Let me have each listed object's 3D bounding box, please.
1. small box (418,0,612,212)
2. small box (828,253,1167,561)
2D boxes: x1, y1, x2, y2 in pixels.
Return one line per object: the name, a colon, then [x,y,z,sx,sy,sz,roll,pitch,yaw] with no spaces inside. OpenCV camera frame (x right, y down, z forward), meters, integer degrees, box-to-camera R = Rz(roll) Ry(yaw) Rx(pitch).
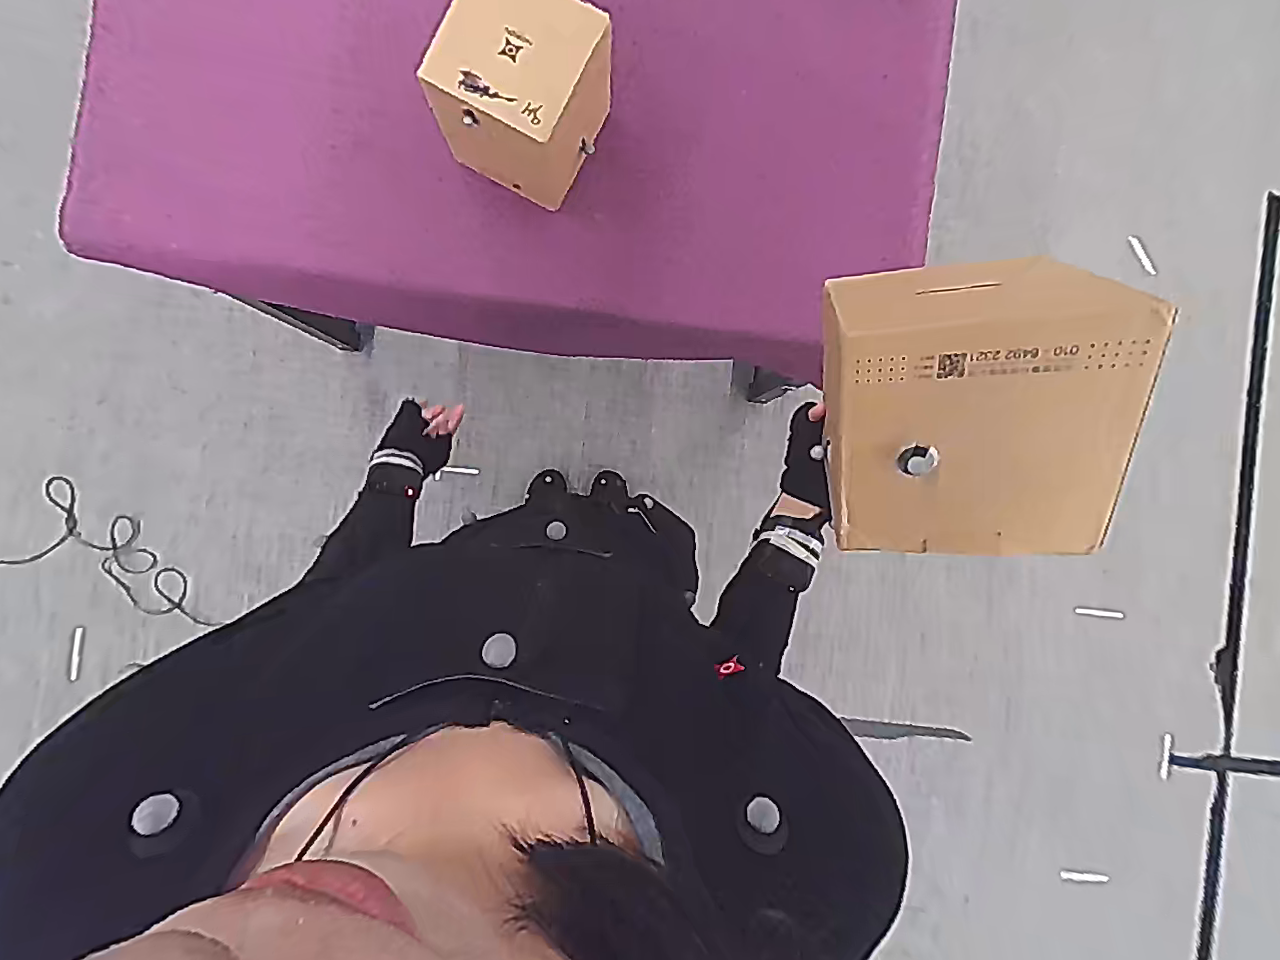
small box: [-0.150,-0.494,0.697,0.168,0.176,0.179,27,87,-4]
small box: [0.232,-0.060,0.400,0.168,0.179,0.176,0,120,15]
